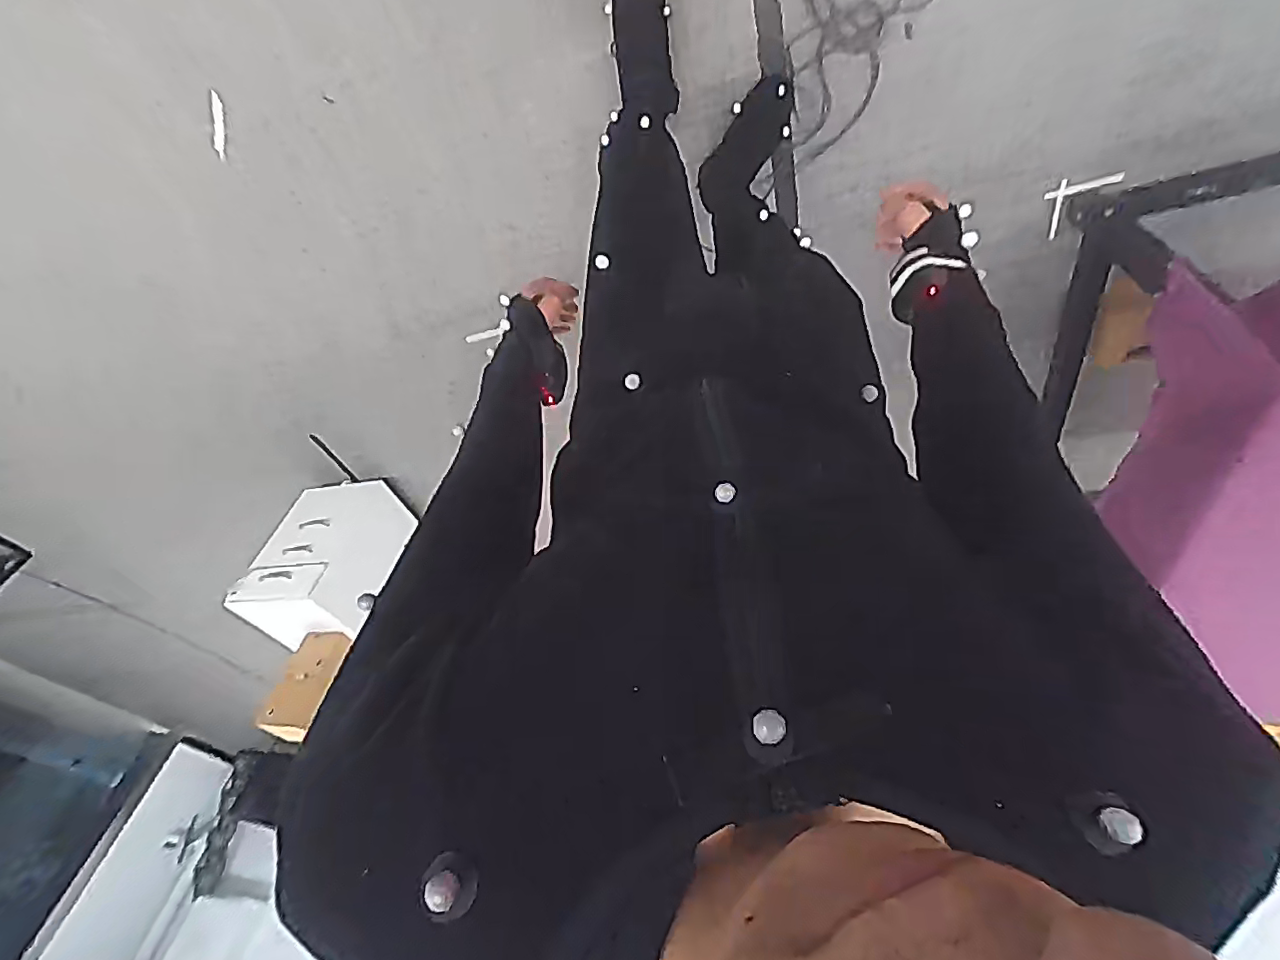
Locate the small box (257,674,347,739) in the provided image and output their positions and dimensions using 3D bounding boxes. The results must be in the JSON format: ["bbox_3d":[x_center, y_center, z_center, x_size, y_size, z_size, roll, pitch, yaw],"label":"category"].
[{"bbox_3d":[-1.183,0.796,1.908,0.179,0.176,0.168,-4,138,14],"label":"small box"}]
